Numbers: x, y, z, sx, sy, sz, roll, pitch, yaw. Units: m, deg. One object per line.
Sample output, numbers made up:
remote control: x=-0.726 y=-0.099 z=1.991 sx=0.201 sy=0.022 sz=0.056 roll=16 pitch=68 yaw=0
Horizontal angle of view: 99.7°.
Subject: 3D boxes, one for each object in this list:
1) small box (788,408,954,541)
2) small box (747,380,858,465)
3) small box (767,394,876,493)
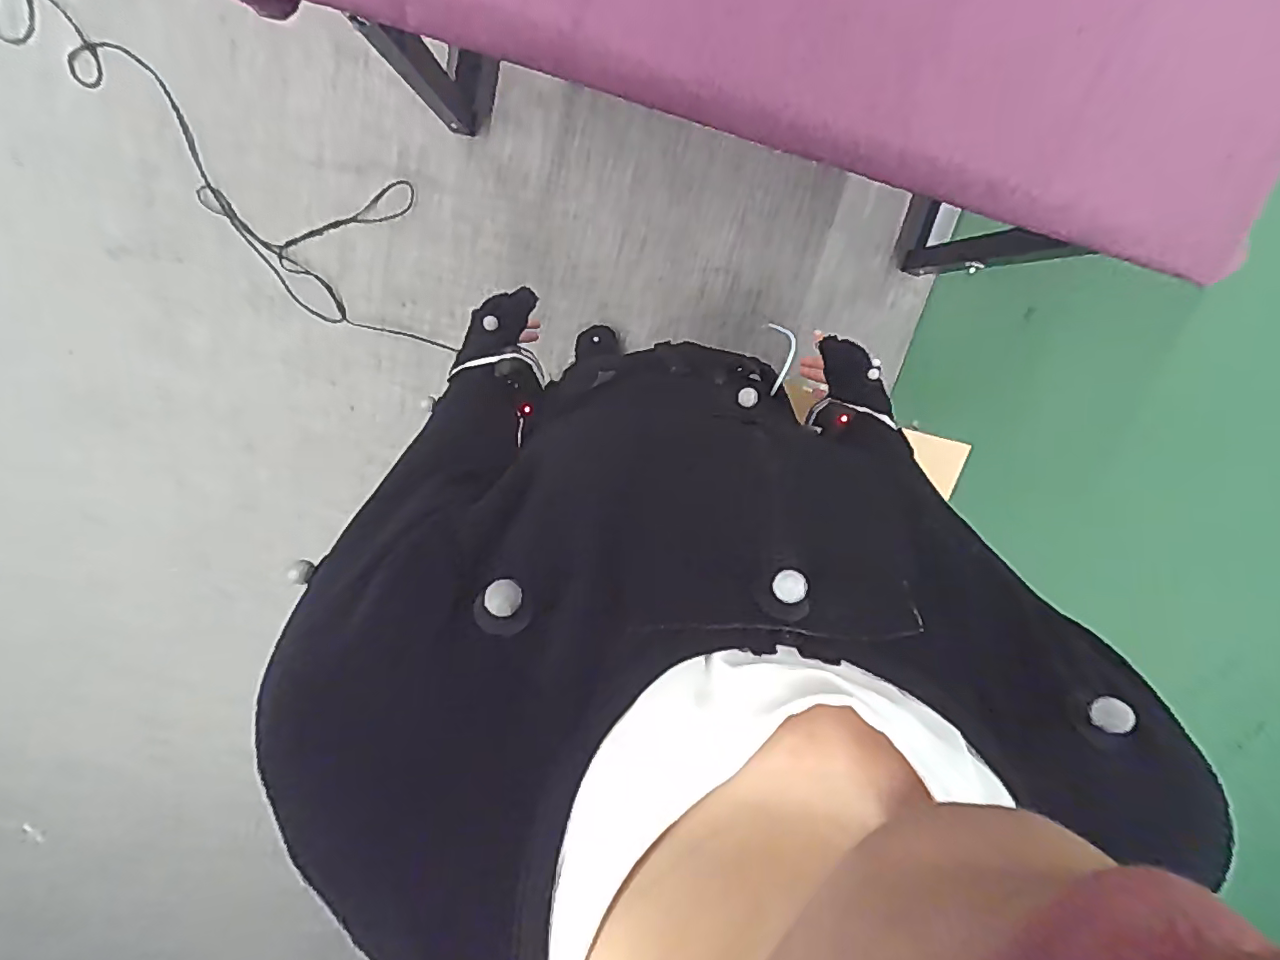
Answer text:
small box: x=0.383 y=-0.017 z=0.928 sx=0.179 sy=0.176 sz=0.168 roll=14 pitch=105 yaw=-7
small box: x=0.360 y=-0.116 z=1.239 sx=0.168 sy=0.176 sz=0.179 roll=17 pitch=104 yaw=-8
small box: x=0.371 y=-0.061 z=1.087 sx=0.168 sy=0.176 sz=0.179 roll=16 pitch=105 yaw=-8
